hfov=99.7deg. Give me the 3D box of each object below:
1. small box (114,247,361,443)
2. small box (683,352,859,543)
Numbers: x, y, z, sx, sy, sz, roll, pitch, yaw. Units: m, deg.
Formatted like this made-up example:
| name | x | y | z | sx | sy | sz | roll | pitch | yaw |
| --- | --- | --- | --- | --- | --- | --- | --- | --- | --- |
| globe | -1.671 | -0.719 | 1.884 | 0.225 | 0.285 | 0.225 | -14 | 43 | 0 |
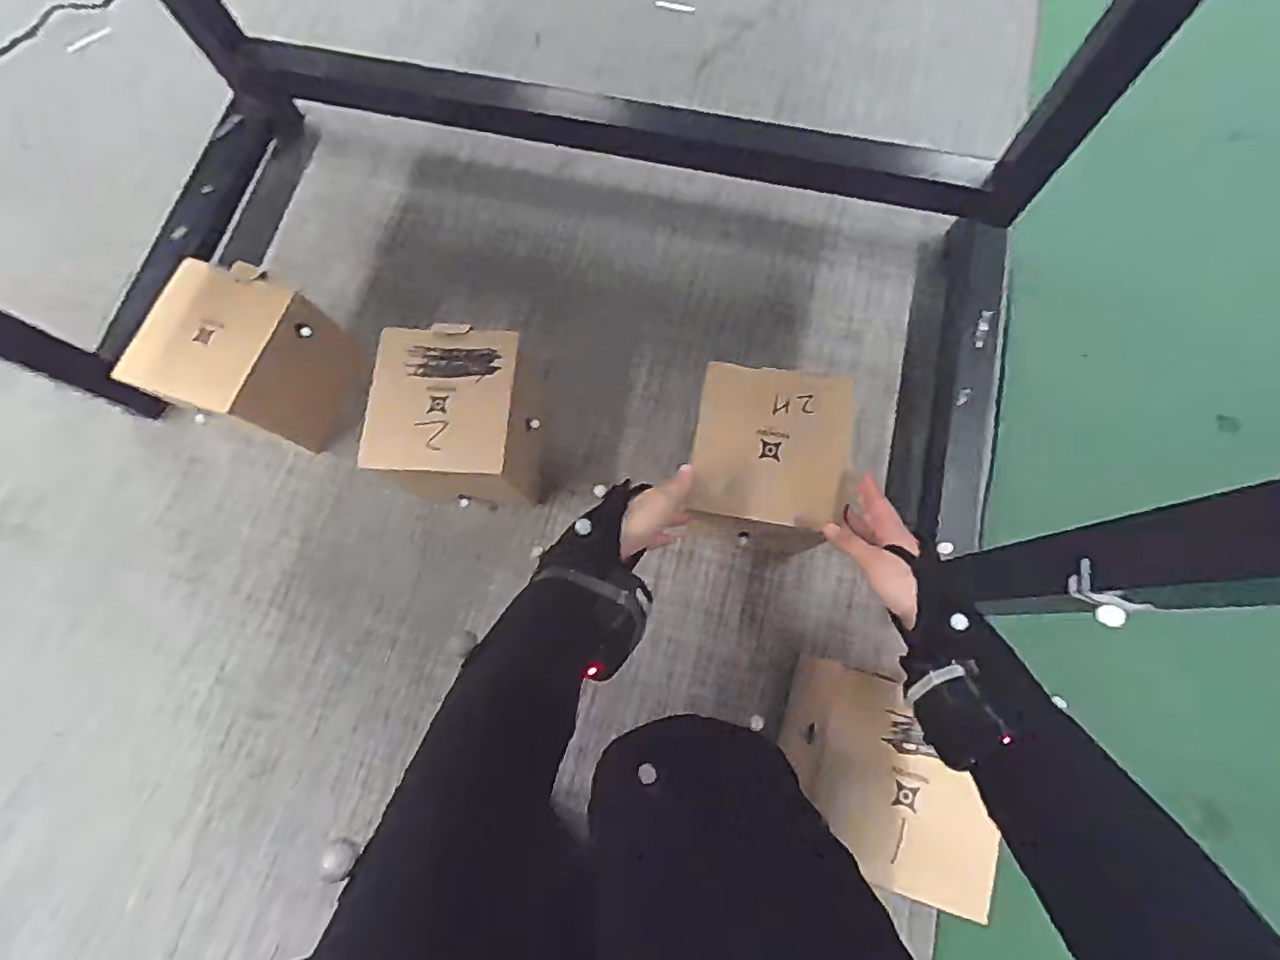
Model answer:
| name | x | y | z | sx | sy | sz | roll | pitch | yaw |
| --- | --- | --- | --- | --- | --- | --- | --- | --- | --- |
| small box | -0.515 | -0.168 | 0.722 | 0.168 | 0.176 | 0.179 | 18 | 77 | 8 |
| small box | 0.145 | -0.027 | 0.648 | 0.168 | 0.176 | 0.179 | 10 | 77 | 5 |
